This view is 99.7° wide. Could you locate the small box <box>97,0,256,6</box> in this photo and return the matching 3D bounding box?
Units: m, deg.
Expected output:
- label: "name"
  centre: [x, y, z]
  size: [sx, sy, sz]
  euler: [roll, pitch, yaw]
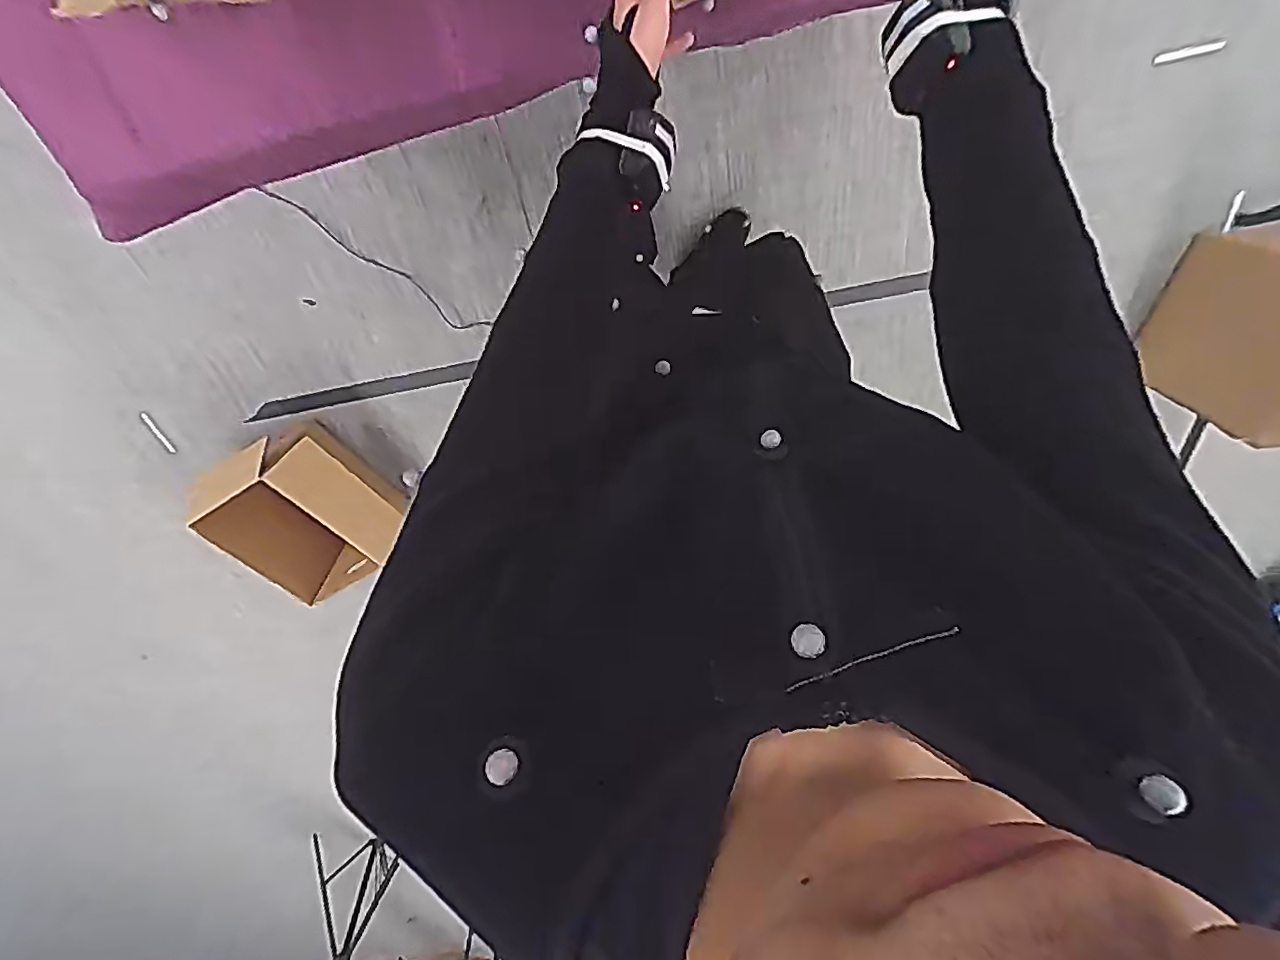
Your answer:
- label: "small box"
  centre: [-0.462, -0.511, 0.439]
  size: [0.168, 0.176, 0.179]
  euler: [-3, 126, -2]
